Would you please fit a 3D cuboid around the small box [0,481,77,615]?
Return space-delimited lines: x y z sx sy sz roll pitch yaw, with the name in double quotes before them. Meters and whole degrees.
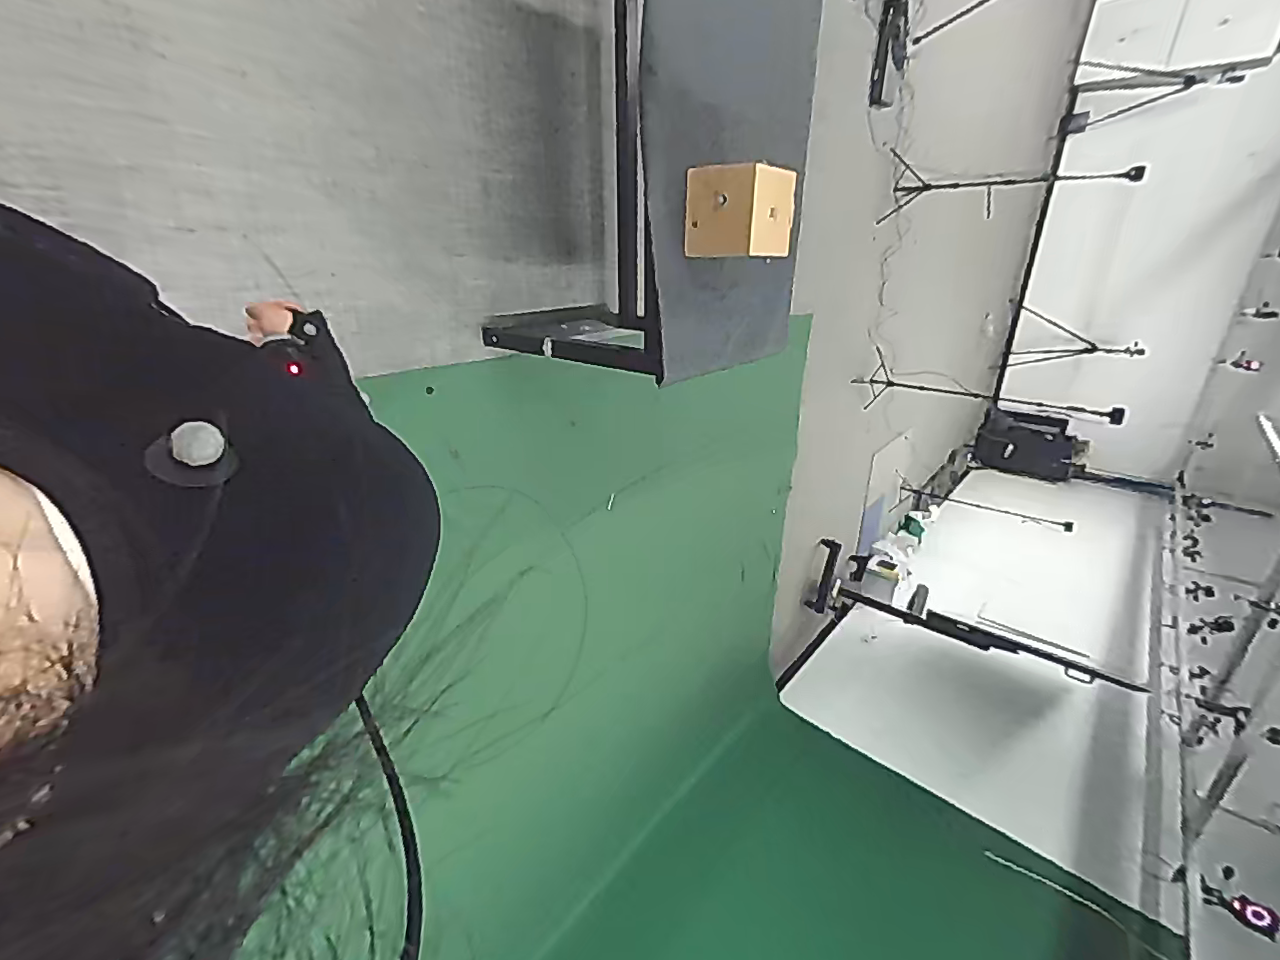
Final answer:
"small box" -1.163 0.126 0.961 0.168 0.176 0.179 -33 129 -38

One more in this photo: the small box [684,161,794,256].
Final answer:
"small box" 0.208 -0.571 1.156 0.179 0.176 0.168 -25 123 -45
